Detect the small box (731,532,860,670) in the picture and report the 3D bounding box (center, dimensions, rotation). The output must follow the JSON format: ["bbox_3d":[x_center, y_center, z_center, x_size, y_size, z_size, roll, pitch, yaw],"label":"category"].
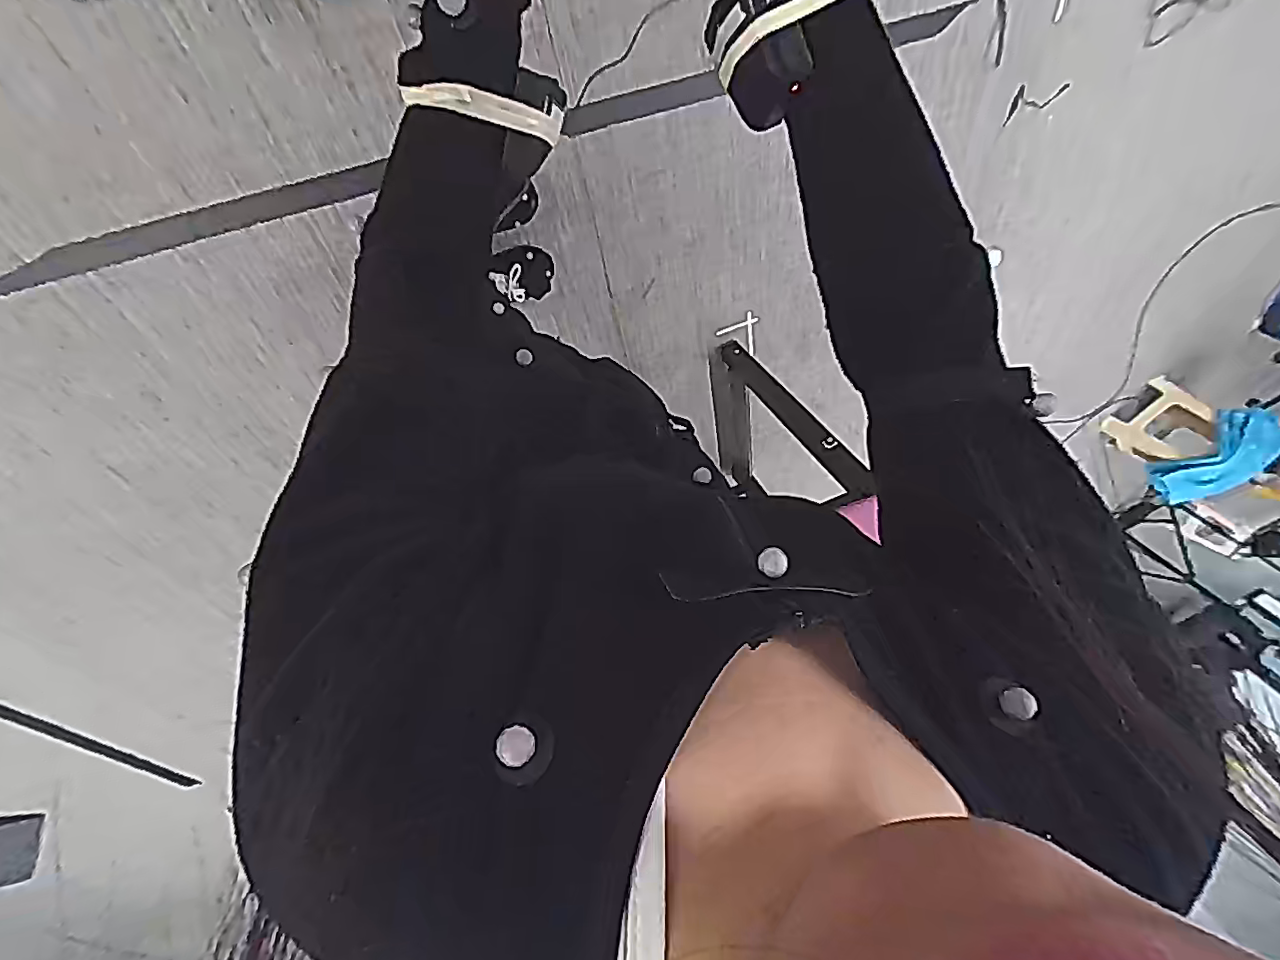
[{"bbox_3d":[0.289,0.230,1.048,0.179,0.176,0.168,-19,135,-11],"label":"small box"}]
